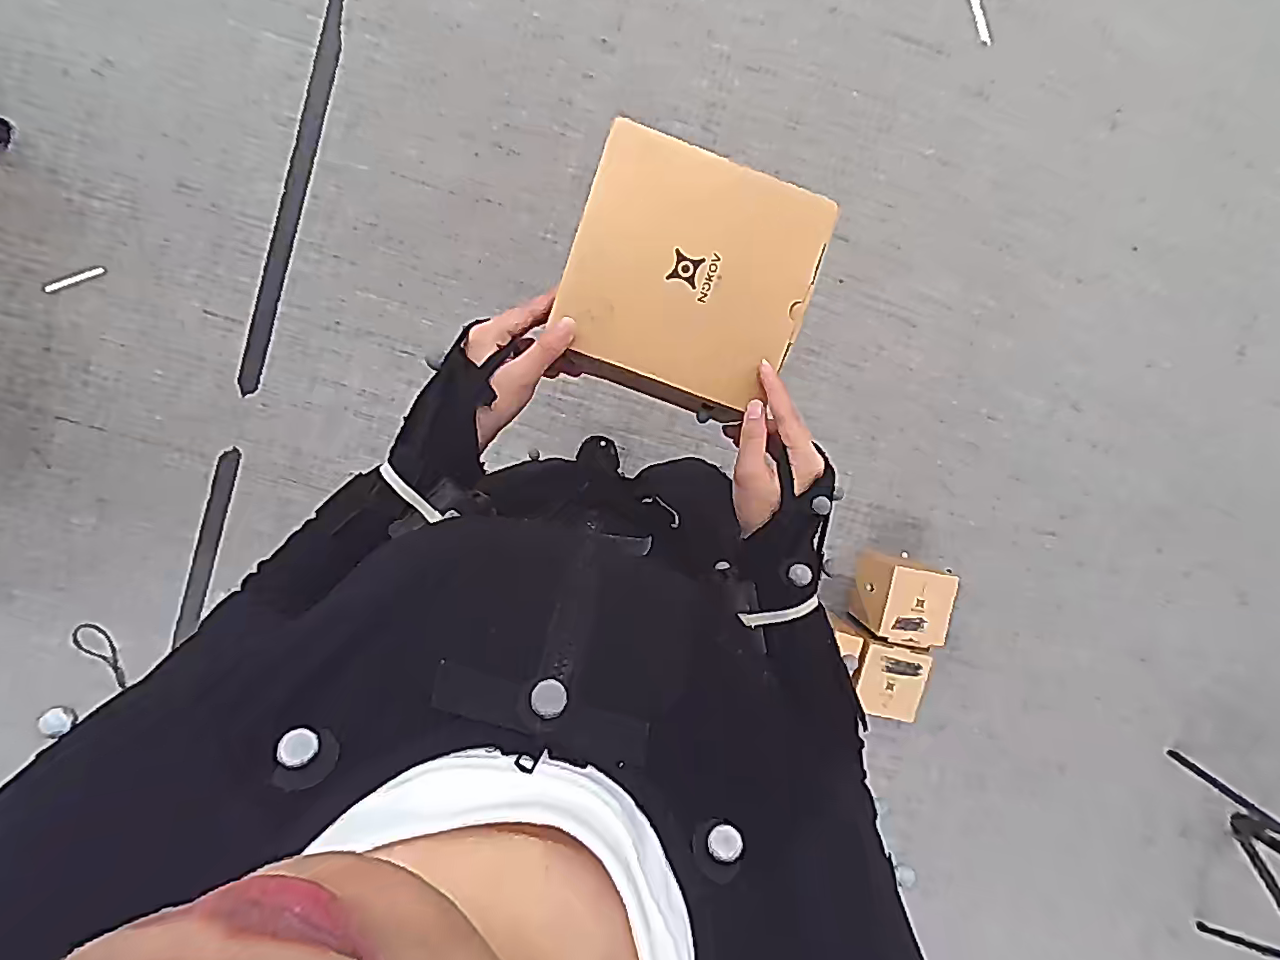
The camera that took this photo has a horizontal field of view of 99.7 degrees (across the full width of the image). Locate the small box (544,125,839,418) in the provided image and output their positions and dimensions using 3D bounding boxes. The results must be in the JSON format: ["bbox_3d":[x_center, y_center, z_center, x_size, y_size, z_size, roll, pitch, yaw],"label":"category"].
[{"bbox_3d":[0.035,-0.155,0.472,0.179,0.176,0.168,20,94,-3],"label":"small box"}]
